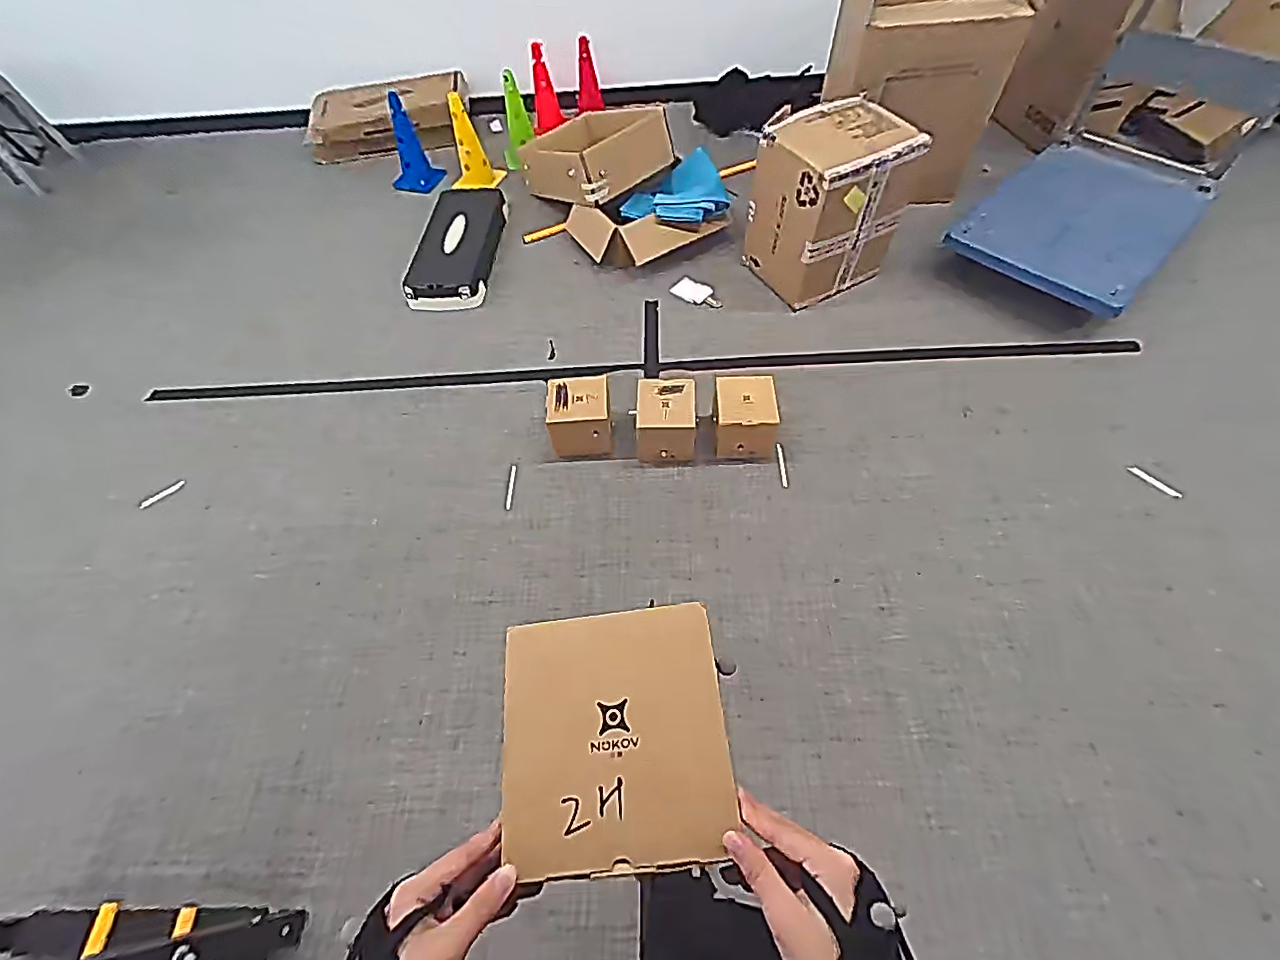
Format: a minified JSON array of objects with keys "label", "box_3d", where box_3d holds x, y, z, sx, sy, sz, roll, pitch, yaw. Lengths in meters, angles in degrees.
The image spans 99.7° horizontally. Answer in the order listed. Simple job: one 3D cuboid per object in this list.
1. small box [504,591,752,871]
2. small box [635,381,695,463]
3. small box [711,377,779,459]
[{"label":"small box","box_3d":[-0.006,0.212,0.460,0.168,0.176,0.179,-8,59,3]},{"label":"small box","box_3d":[0.074,-0.170,1.591,0.168,0.176,0.179,0,58,3]},{"label":"small box","box_3d":[0.301,-0.181,1.589,0.168,0.176,0.179,-1,58,2]}]
